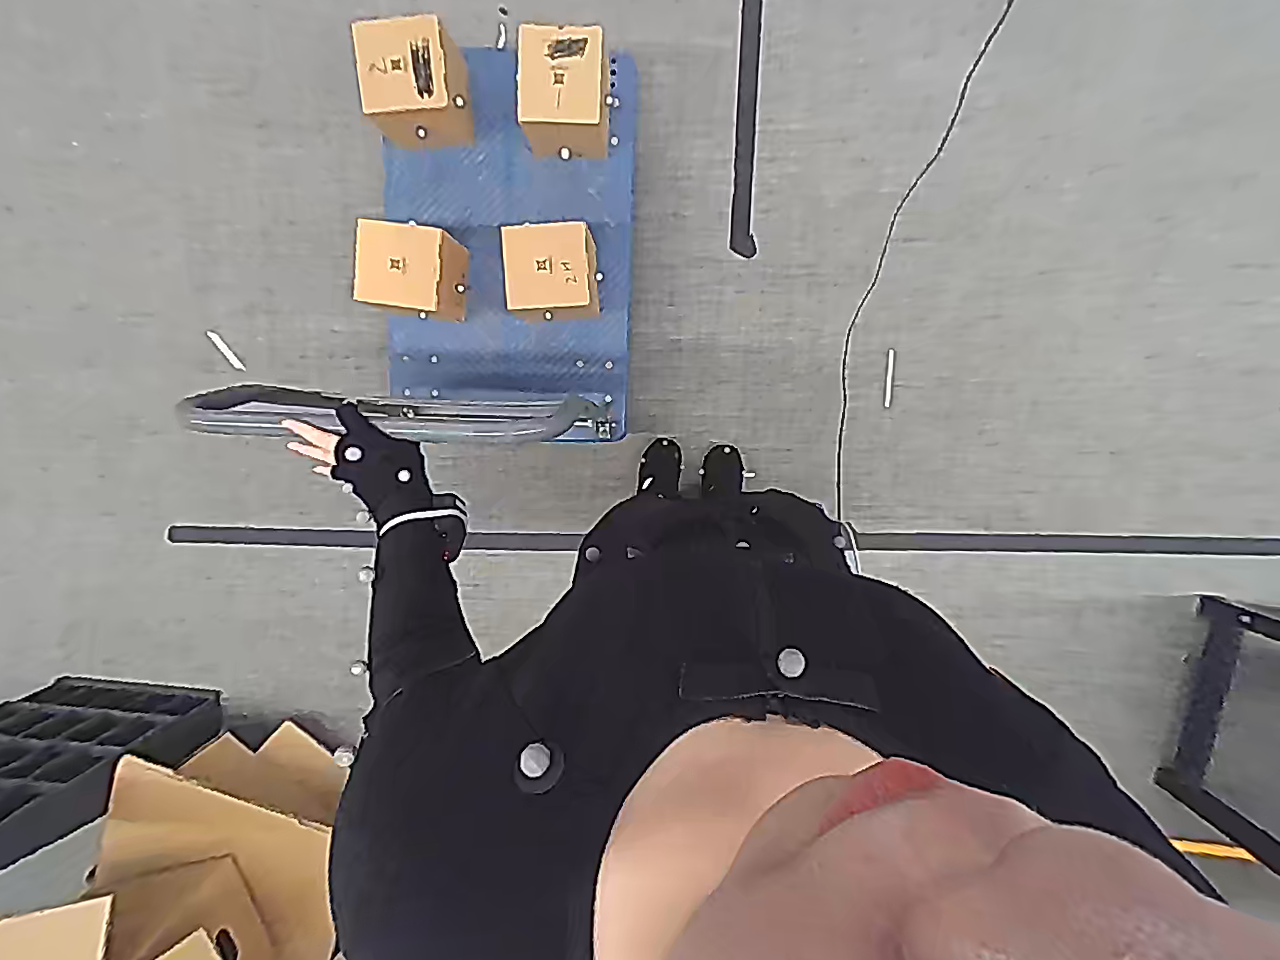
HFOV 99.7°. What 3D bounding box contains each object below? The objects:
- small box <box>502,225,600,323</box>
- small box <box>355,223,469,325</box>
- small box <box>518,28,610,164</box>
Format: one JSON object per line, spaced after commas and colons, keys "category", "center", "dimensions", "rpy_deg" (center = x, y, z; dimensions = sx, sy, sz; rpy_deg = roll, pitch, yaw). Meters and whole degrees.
{"category": "small box", "center": [-0.187, -0.441, 1.182], "dimensions": [0.179, 0.176, 0.168], "rpy_deg": [-2, 98, 3]}
{"category": "small box", "center": [-0.495, -0.446, 1.193], "dimensions": [0.179, 0.176, 0.168], "rpy_deg": [7, 97, -1]}
{"category": "small box", "center": [-0.153, -0.795, 1.133], "dimensions": [0.168, 0.176, 0.179], "rpy_deg": [3, 99, 1]}
